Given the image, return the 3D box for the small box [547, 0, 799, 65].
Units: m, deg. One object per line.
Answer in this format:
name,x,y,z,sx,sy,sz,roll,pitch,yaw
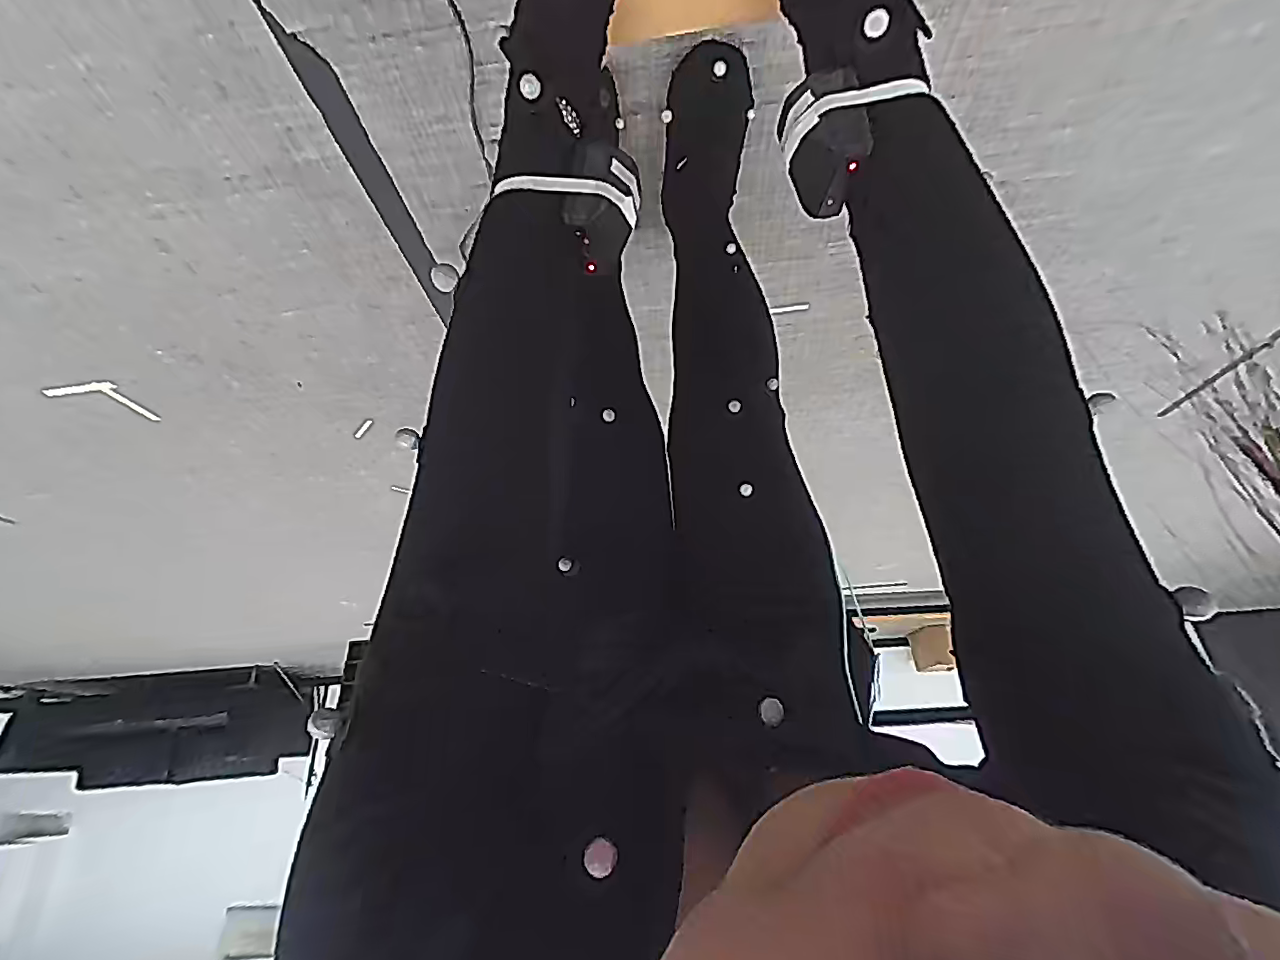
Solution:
small box,0.014,-0.427,0.365,0.179,0.176,0.168,-6,152,5
